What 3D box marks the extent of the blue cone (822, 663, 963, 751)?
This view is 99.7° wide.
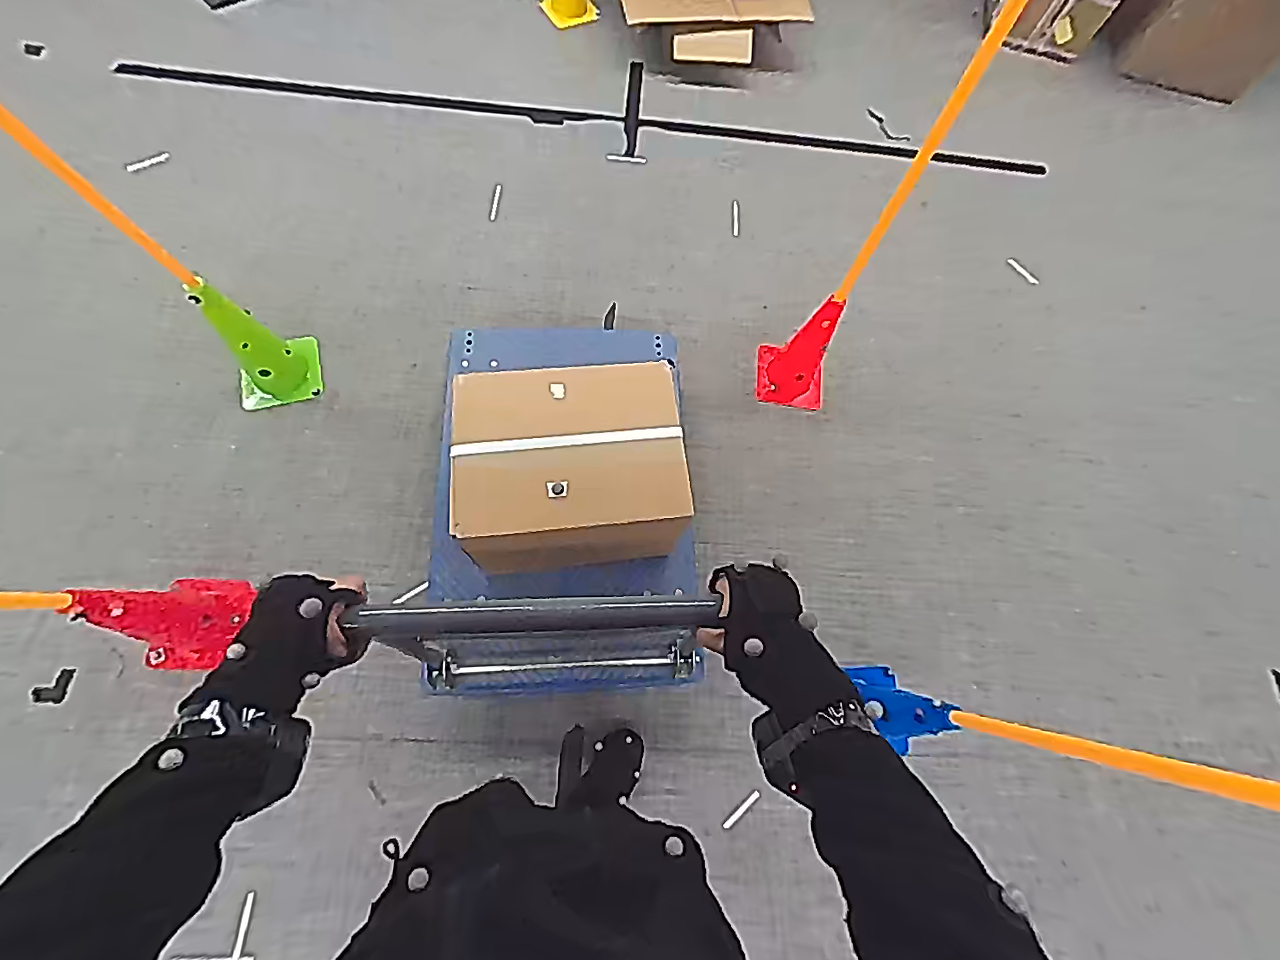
[{"bbox_3d":[0.553,0.478,1.142,0.193,0.380,0.192,1,68,-6],"label":"blue cone"}]

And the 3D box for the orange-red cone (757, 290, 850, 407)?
[{"bbox_3d":[0.468,-0.376,1.448,0.199,0.360,0.198,11,69,-2],"label":"orange-red cone"}]
